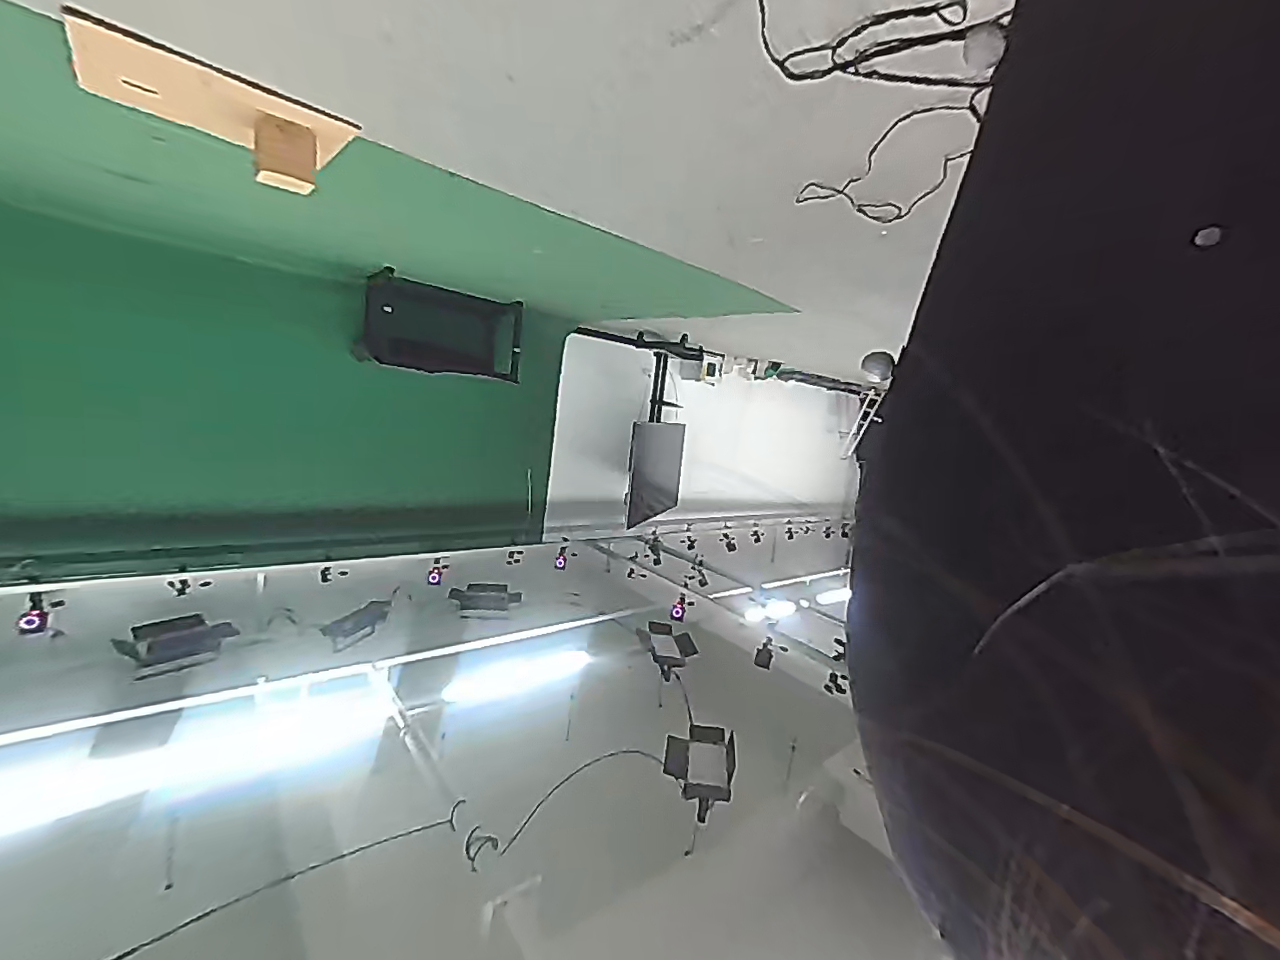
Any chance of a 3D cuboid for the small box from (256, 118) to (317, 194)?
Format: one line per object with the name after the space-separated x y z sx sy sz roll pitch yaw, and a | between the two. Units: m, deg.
-1.265 -1.154 1.935 0.168 0.176 0.179 -2 -168 -41 | small box
